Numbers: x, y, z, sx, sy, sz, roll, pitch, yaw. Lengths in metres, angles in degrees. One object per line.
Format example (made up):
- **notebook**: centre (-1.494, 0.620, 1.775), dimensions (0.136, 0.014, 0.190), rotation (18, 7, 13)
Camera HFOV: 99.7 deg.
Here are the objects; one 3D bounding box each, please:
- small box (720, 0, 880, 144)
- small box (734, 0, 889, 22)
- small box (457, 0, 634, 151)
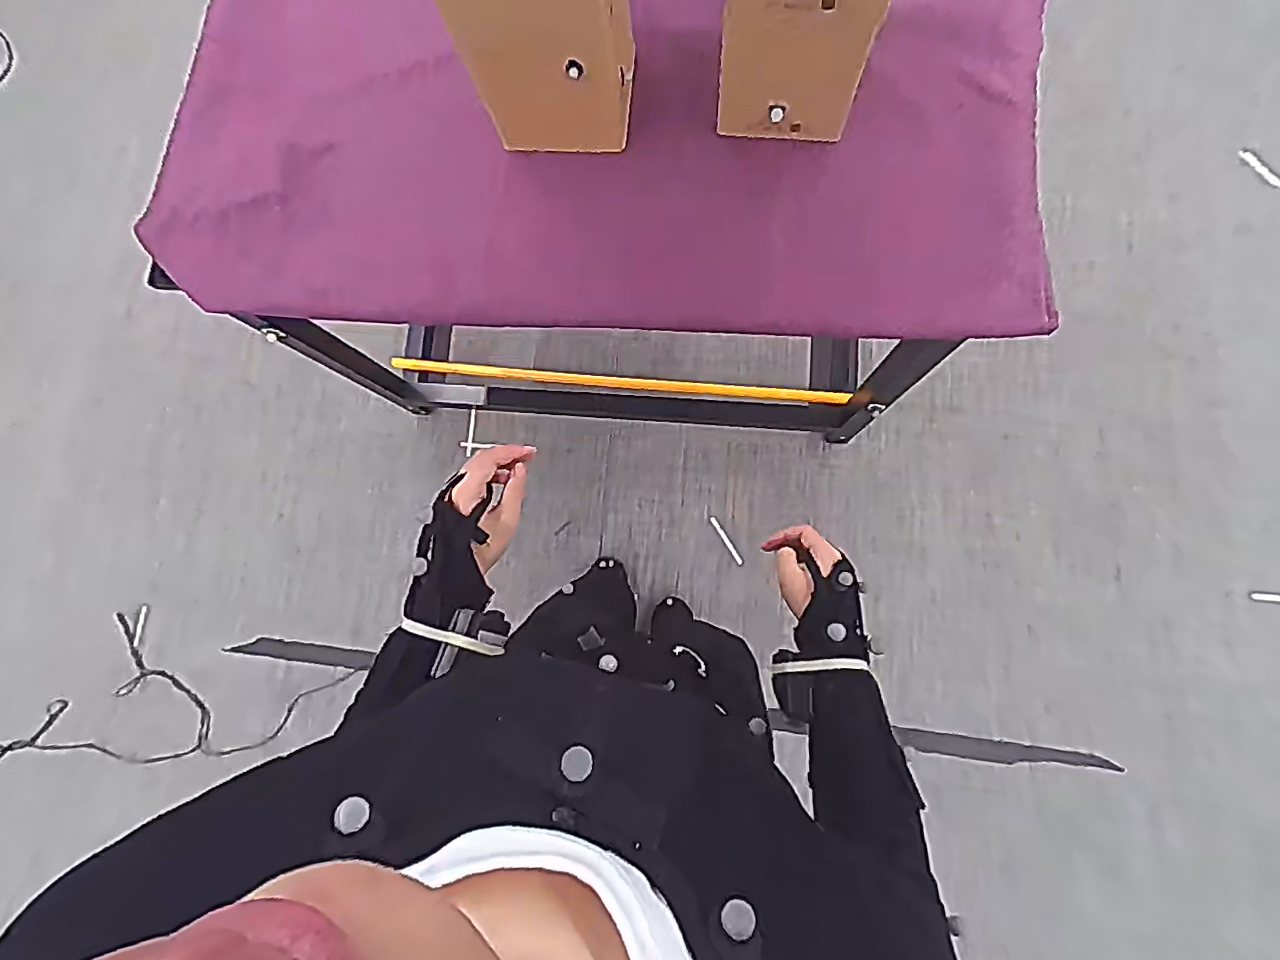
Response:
- **small box**: centre (0.193, -0.561, 0.668), dimensions (0.168, 0.176, 0.179), rotation (8, 82, 7)
- **small box**: centre (0.180, -0.586, 0.505), dimensions (0.168, 0.176, 0.179), rotation (8, 82, 8)
- **small box**: centre (-0.109, -0.559, 0.699), dimensions (0.179, 0.176, 0.168), rotation (4, 81, 6)
